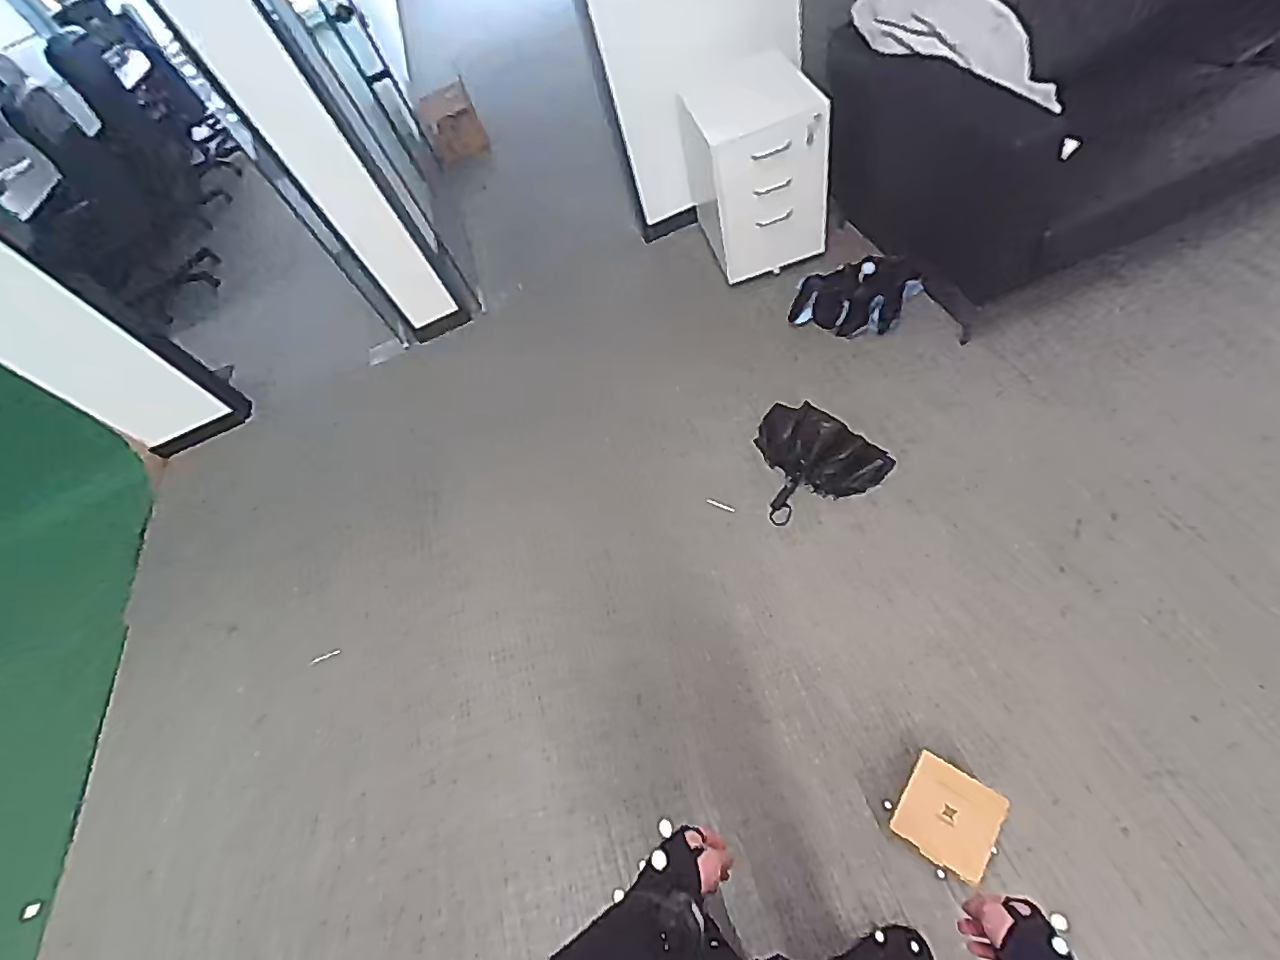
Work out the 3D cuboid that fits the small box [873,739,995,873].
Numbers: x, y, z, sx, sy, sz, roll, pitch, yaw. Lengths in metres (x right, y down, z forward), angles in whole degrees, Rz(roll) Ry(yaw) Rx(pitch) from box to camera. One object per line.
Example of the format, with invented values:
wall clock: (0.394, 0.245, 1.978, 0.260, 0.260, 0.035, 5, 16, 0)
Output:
small box: (0.615, 0.691, 1.152, 0.168, 0.176, 0.179, 27, 68, 28)
